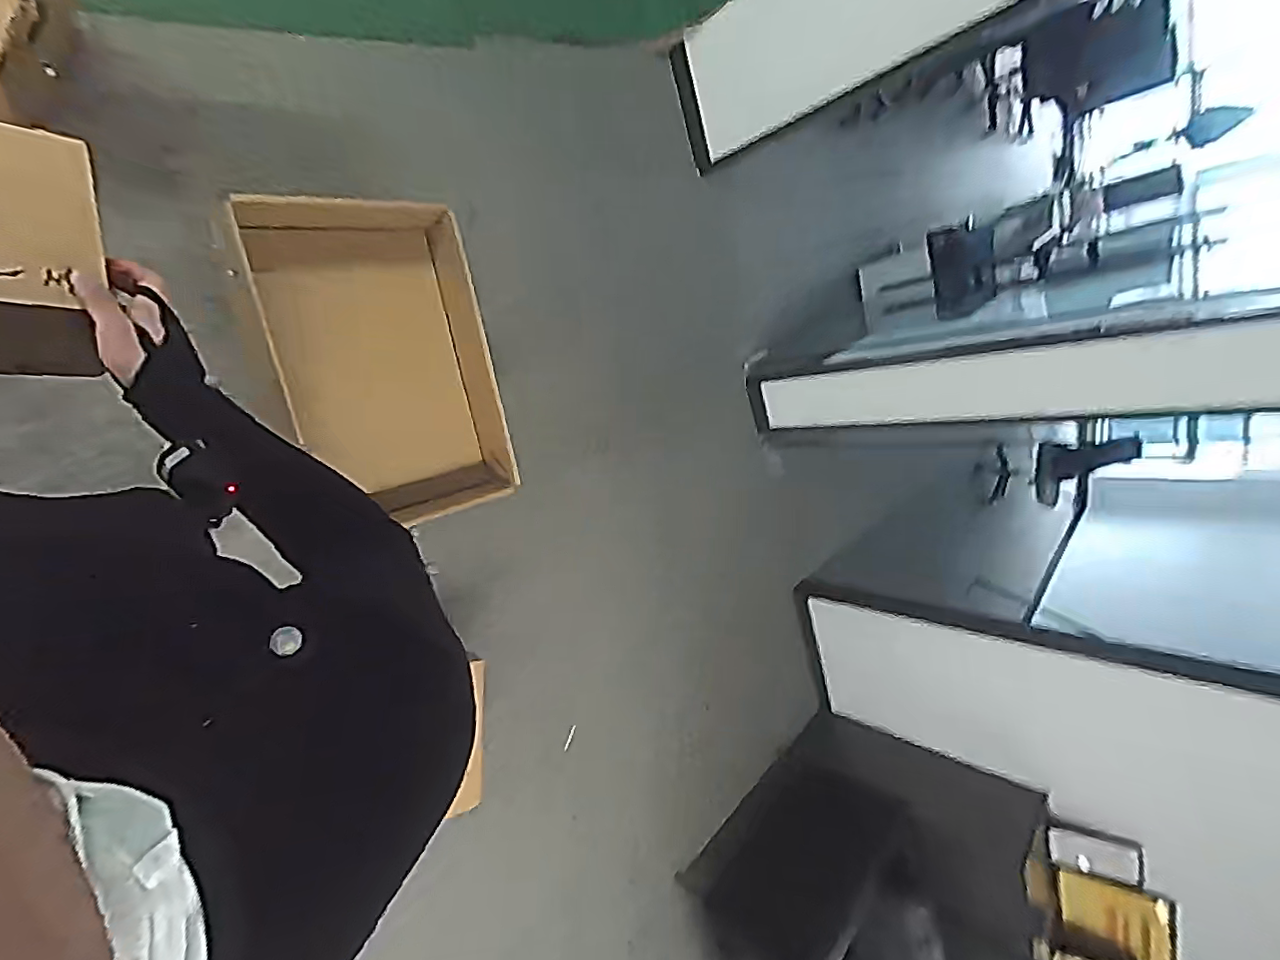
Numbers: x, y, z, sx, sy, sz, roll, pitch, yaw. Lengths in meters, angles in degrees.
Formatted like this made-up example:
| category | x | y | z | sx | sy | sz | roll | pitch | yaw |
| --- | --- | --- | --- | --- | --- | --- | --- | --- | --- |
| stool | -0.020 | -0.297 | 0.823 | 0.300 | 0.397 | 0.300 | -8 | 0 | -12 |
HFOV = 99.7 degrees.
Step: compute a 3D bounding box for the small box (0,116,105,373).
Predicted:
| category | x | y | z | sx | sy | sz | roll | pitch | yaw |
| --- | --- | --- | --- | --- | --- | --- | --- | --- | --- |
| small box | -0.619 | -0.214 | 0.495 | 0.168 | 0.176 | 0.179 | -8 | 83 | -47 |
